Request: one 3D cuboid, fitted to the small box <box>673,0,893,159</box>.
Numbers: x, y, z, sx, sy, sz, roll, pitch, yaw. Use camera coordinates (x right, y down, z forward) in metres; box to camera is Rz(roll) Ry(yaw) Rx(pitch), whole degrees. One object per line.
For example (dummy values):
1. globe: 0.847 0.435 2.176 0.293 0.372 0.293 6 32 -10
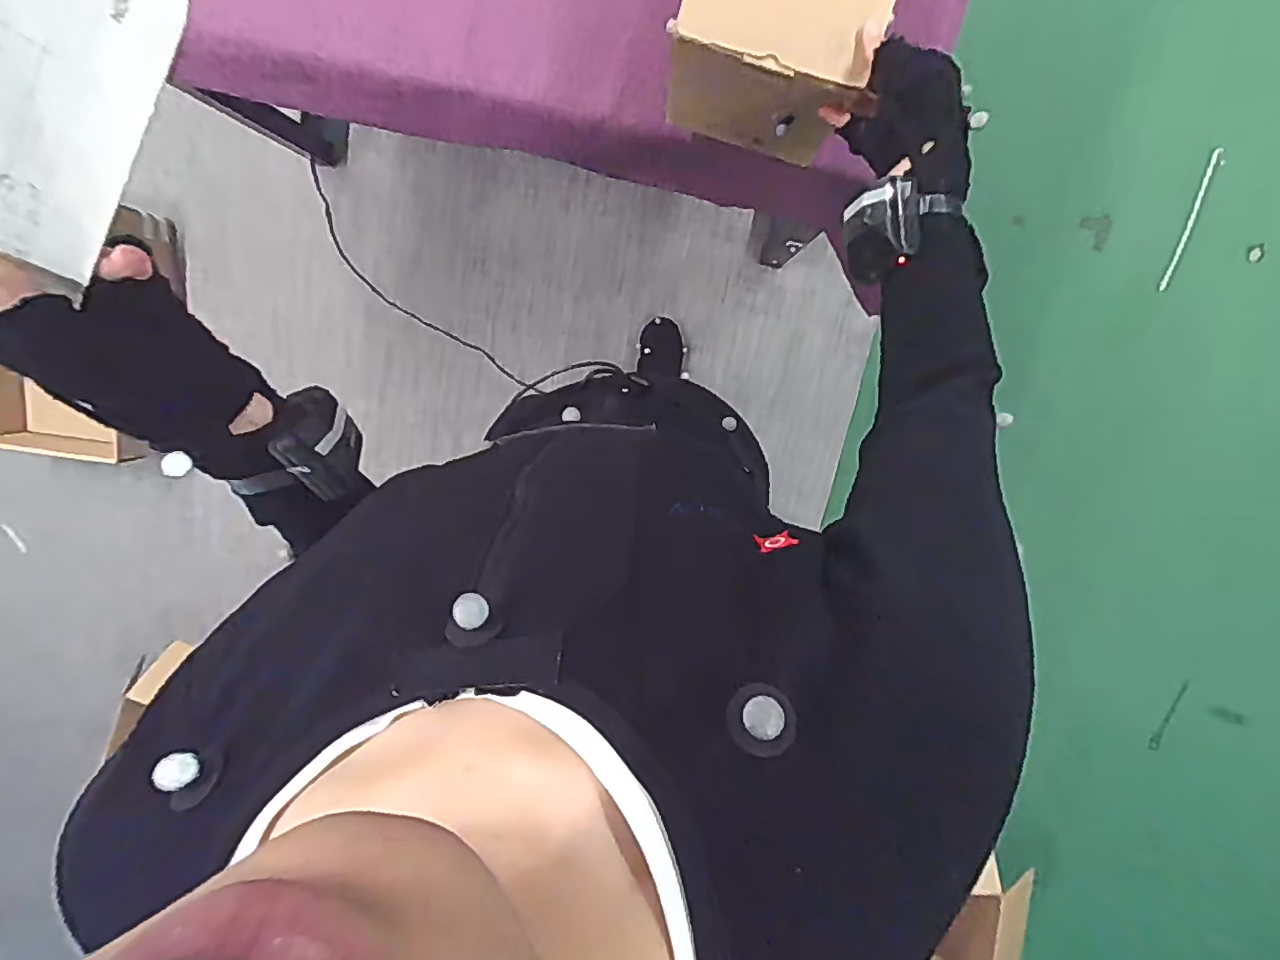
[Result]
1. small box: 0.132 -0.436 0.505 0.168 0.176 0.179 16 101 -3
